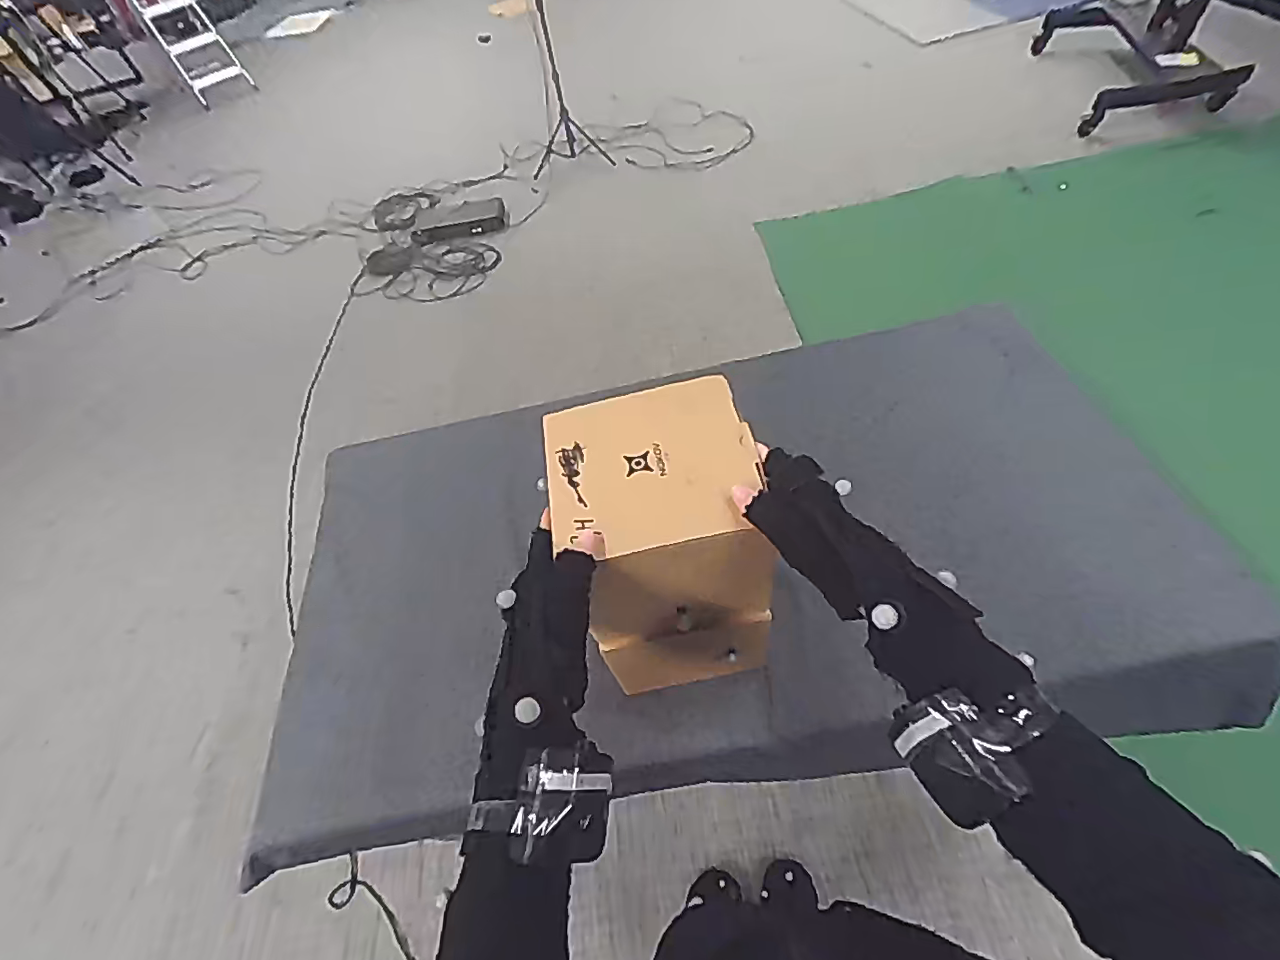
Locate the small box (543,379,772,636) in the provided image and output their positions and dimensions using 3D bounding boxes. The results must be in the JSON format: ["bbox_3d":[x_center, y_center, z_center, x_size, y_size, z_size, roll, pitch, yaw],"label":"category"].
[{"bbox_3d":[0.014,0.033,0.522,0.179,0.176,0.168,-11,52,1],"label":"small box"}]

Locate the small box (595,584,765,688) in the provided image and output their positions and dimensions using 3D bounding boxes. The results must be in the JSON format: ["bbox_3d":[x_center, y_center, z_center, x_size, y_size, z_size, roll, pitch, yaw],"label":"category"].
[{"bbox_3d":[0.040,0.133,0.650,0.179,0.176,0.168,-13,53,2],"label":"small box"}]
